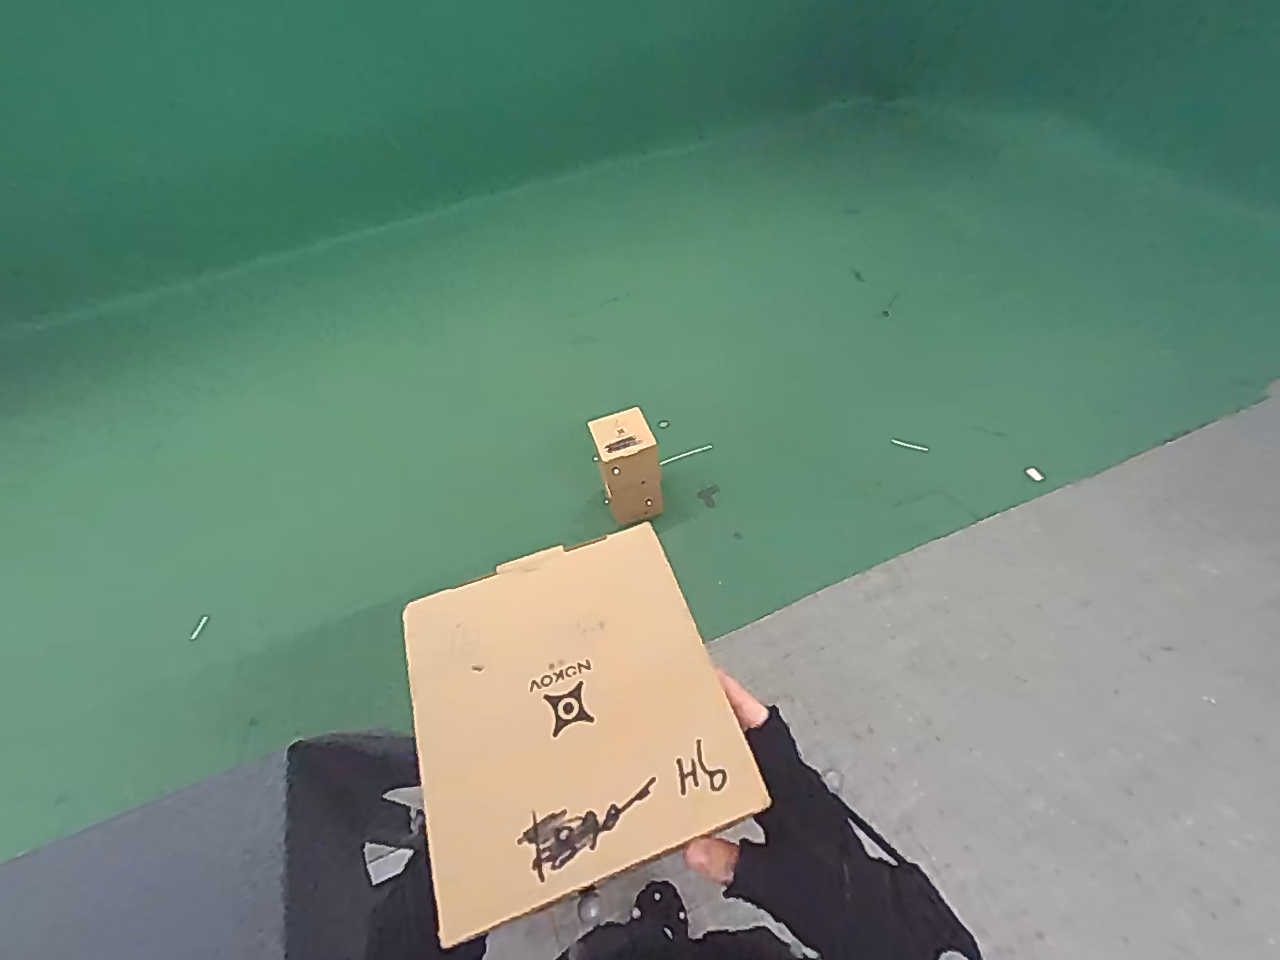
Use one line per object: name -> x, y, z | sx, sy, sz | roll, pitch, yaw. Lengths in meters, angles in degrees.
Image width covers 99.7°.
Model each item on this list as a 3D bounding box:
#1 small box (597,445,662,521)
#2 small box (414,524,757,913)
small box -> -0.031, 0.018, 1.783 | 0.168, 0.176, 0.179 | -17, 51, -6
small box -> -0.038, 0.164, 0.377 | 0.168, 0.176, 0.179 | -18, 55, -8
